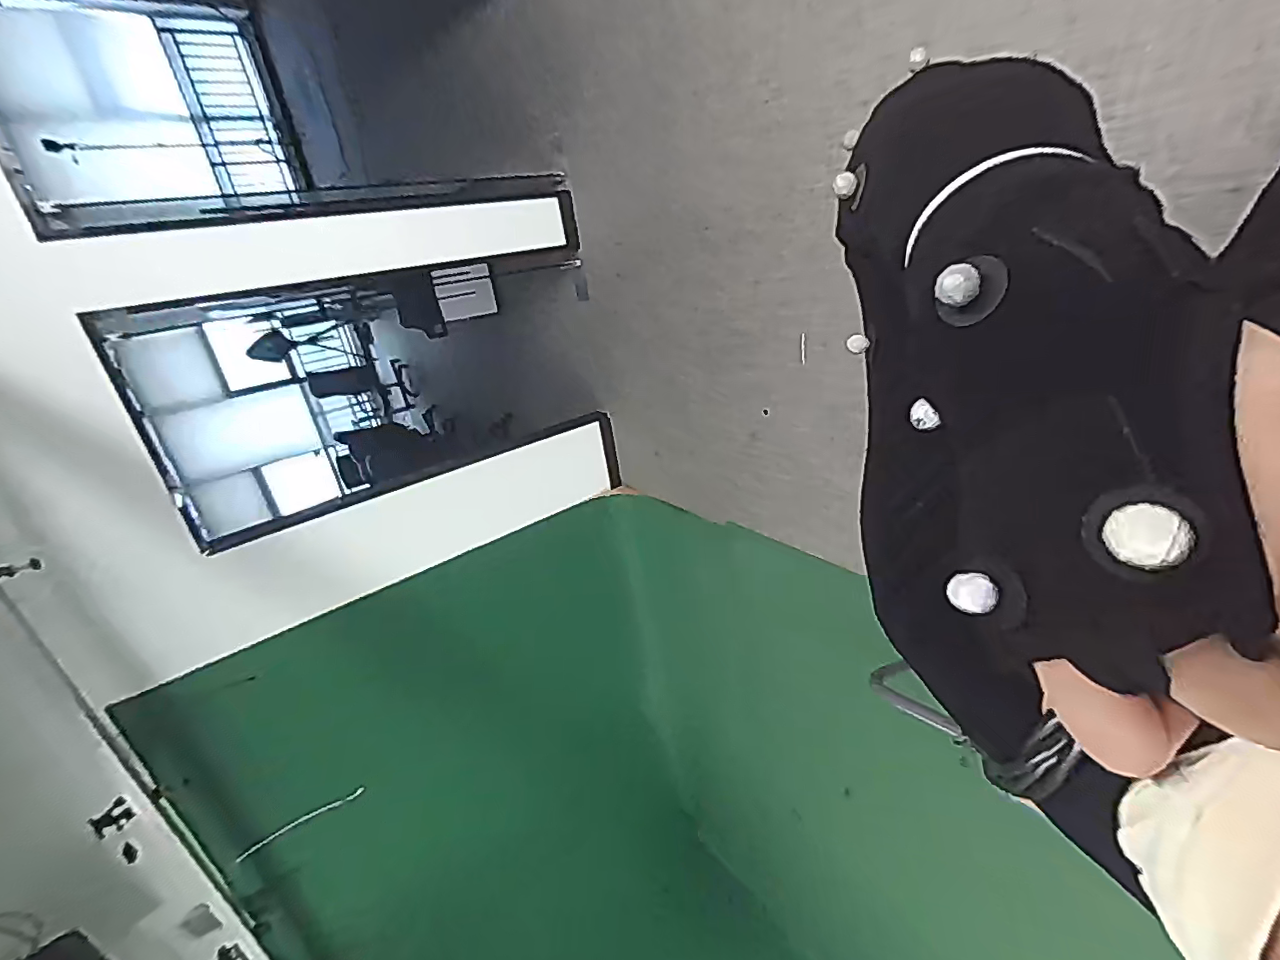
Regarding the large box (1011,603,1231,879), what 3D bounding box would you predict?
[{"bbox_3d":[1.090,0.560,1.240,0.320,0.320,0.408,14,121,53],"label":"large box"}]
